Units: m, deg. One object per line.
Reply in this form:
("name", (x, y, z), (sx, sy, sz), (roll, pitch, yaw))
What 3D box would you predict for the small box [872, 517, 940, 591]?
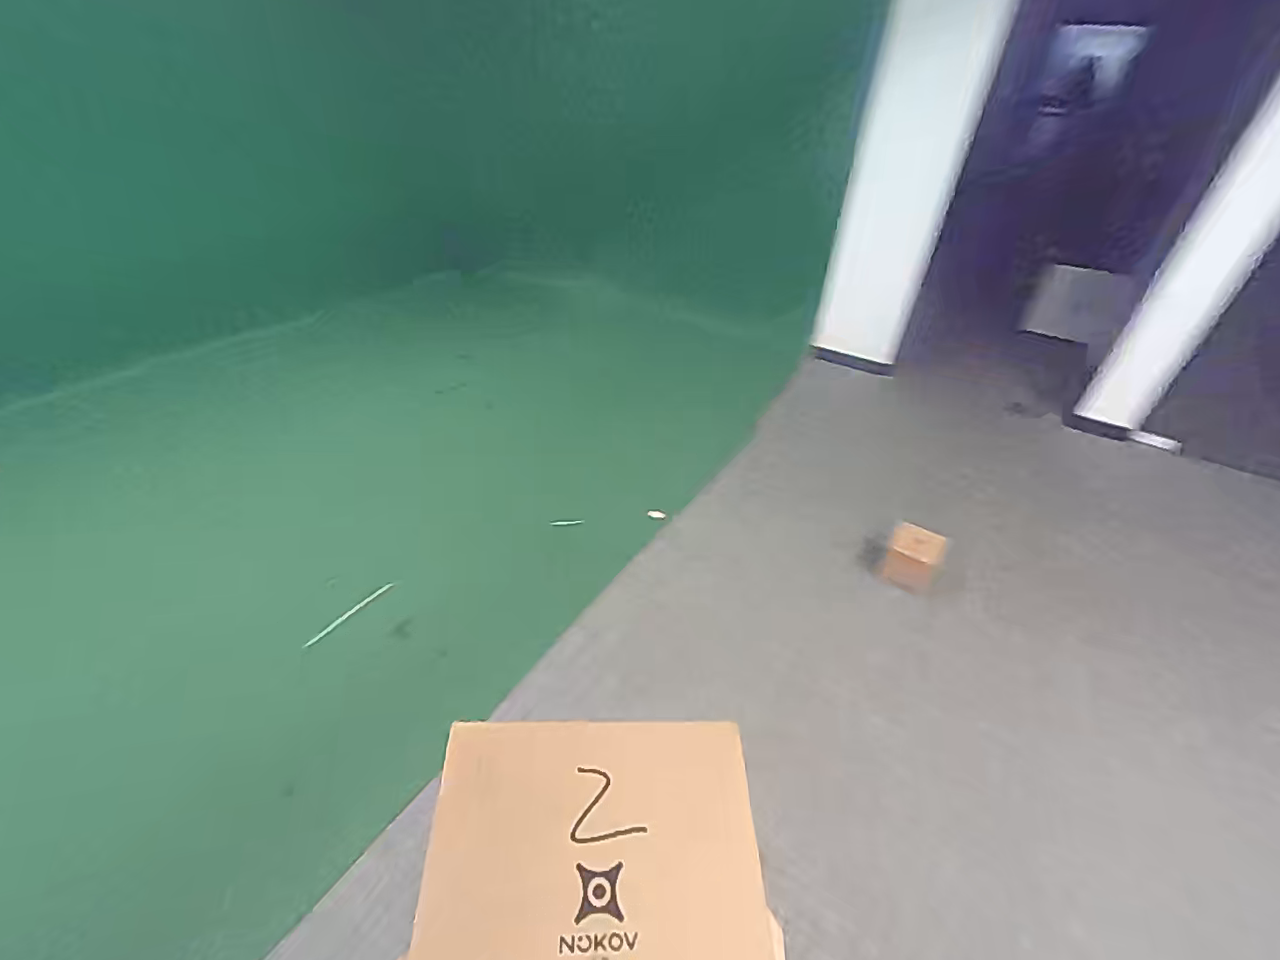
("small box", (0.979, 0.273, 1.999), (0.168, 0.176, 0.179), (24, 45, 25))
